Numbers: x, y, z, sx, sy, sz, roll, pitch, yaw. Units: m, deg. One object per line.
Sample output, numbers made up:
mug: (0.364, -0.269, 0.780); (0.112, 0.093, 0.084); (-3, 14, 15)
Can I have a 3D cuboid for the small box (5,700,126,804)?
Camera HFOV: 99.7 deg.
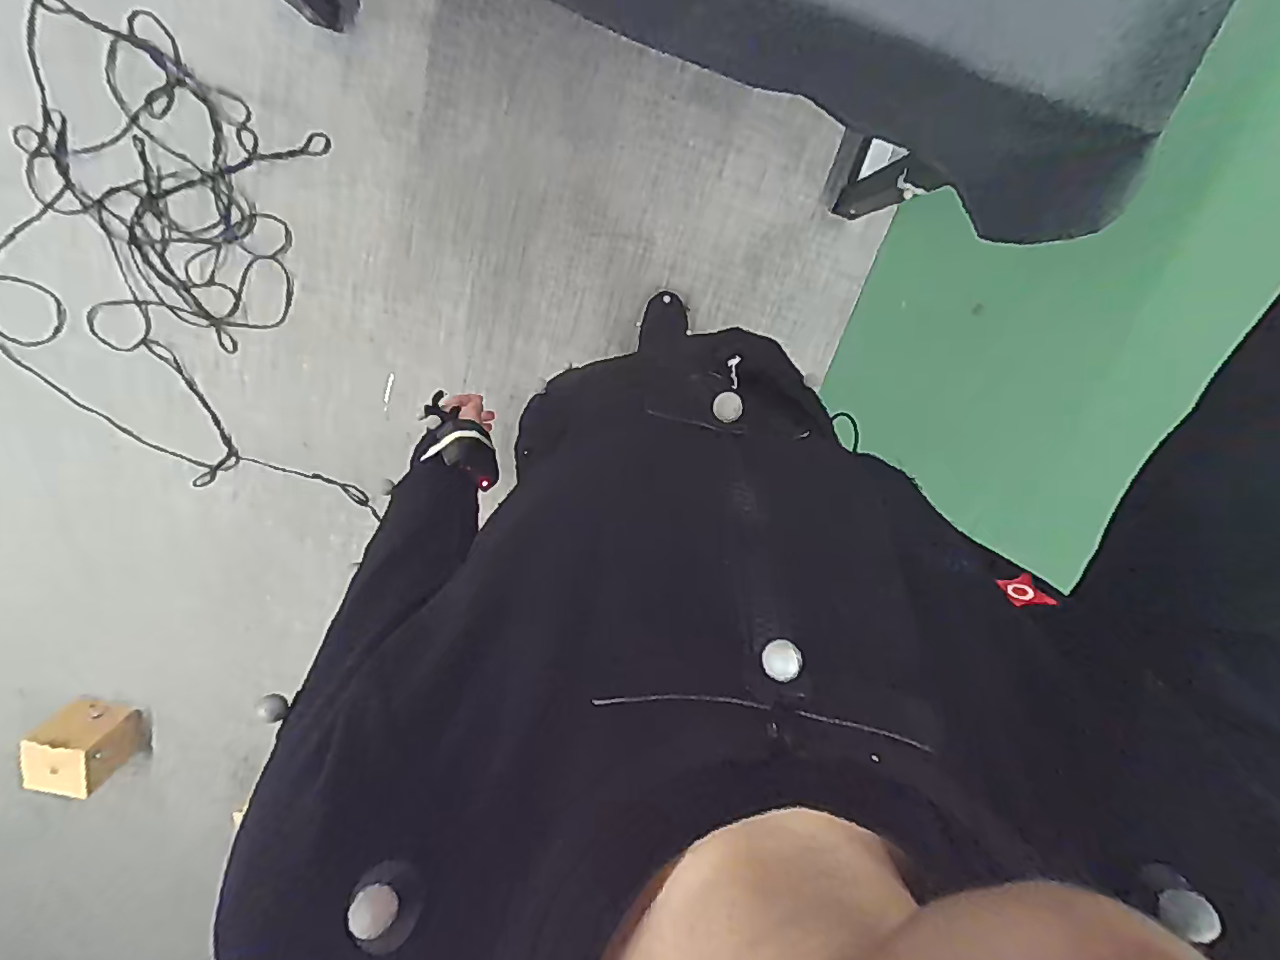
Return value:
small box: (-1.588, 0.753, 1.505); (0.168, 0.176, 0.179); (15, 107, -6)
